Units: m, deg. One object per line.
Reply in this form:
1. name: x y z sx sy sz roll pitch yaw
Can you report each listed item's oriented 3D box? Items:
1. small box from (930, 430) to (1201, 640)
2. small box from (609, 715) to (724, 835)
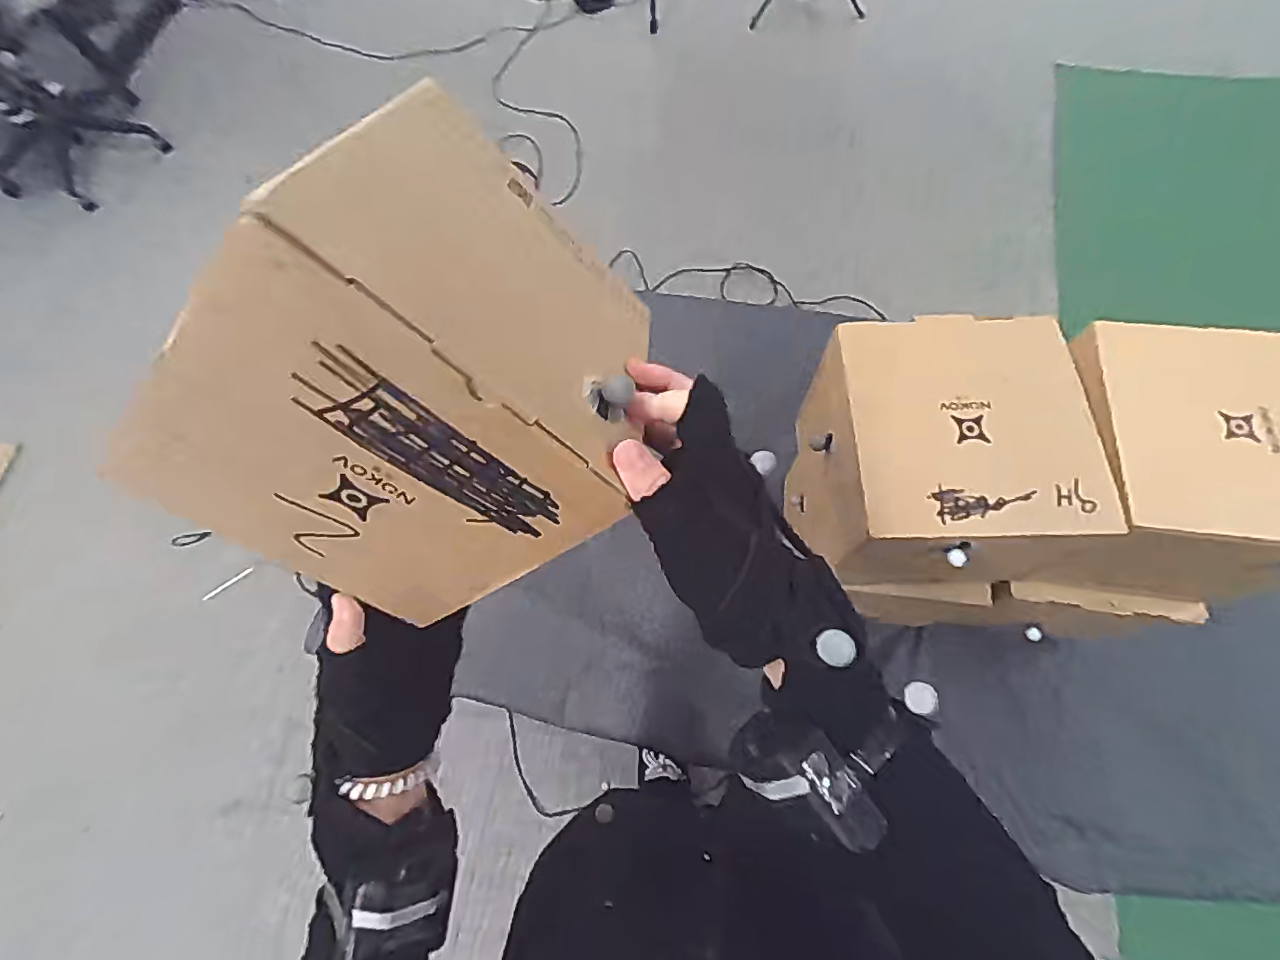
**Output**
1. small box: 0.437 0.067 0.594 0.168 0.176 0.179 7 69 8
2. small box: 0.054 0.642 1.196 0.179 0.176 0.168 34 85 35
